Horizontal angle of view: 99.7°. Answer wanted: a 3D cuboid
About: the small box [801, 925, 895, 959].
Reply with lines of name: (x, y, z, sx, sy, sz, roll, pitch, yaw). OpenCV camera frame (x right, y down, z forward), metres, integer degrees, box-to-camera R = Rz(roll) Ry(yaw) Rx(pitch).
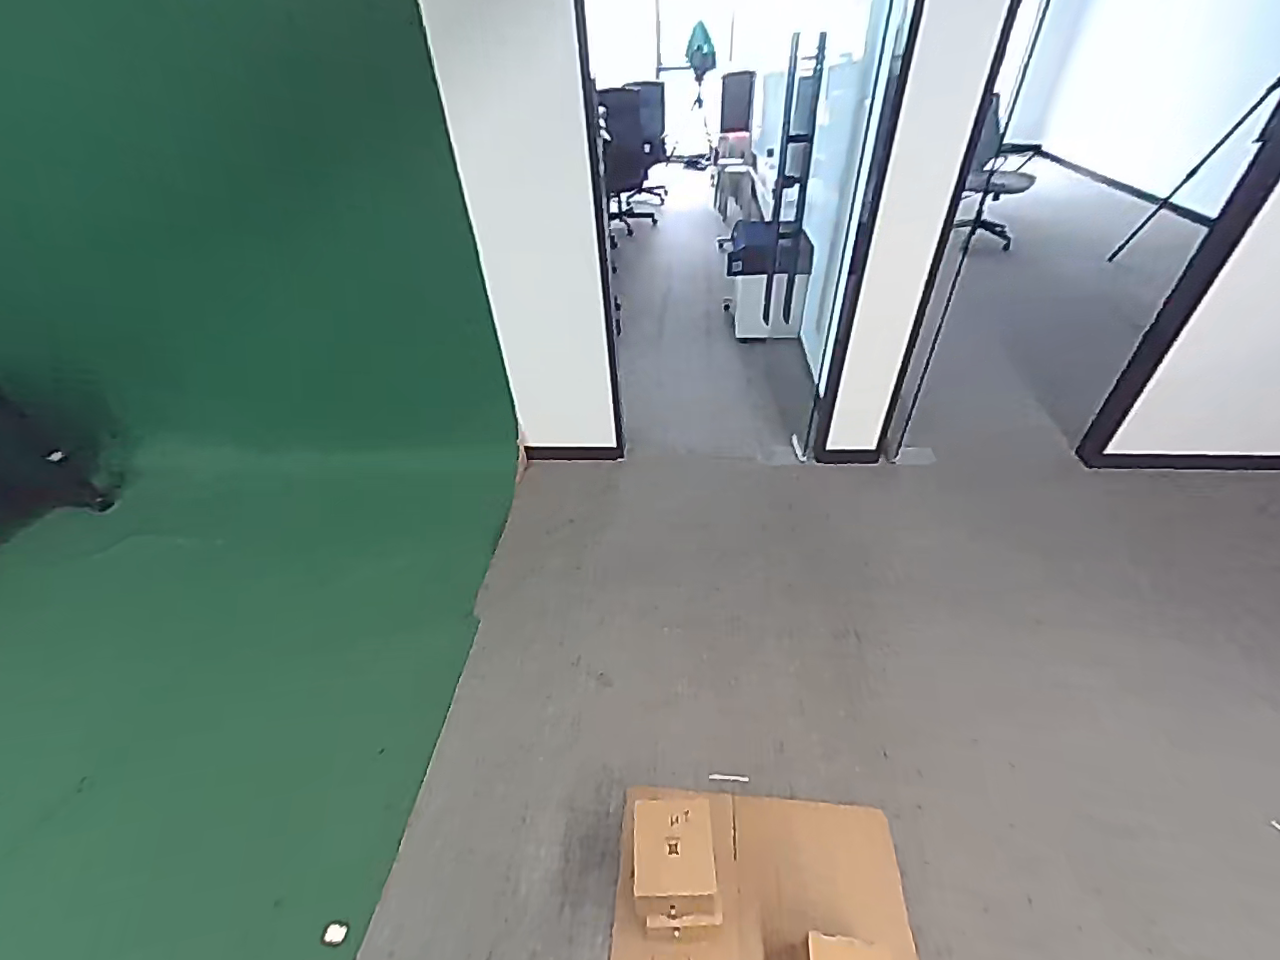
small box: (0.427, 1.053, 1.106, 0.168, 0.176, 0.179, 4, 41, 9)

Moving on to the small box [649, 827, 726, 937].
small box: (0.104, 0.939, 1.265, 0.168, 0.176, 0.179, -2, 41, 1)

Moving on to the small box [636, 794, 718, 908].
small box: (0.078, 0.804, 1.169, 0.168, 0.176, 0.179, -1, 40, 1)
